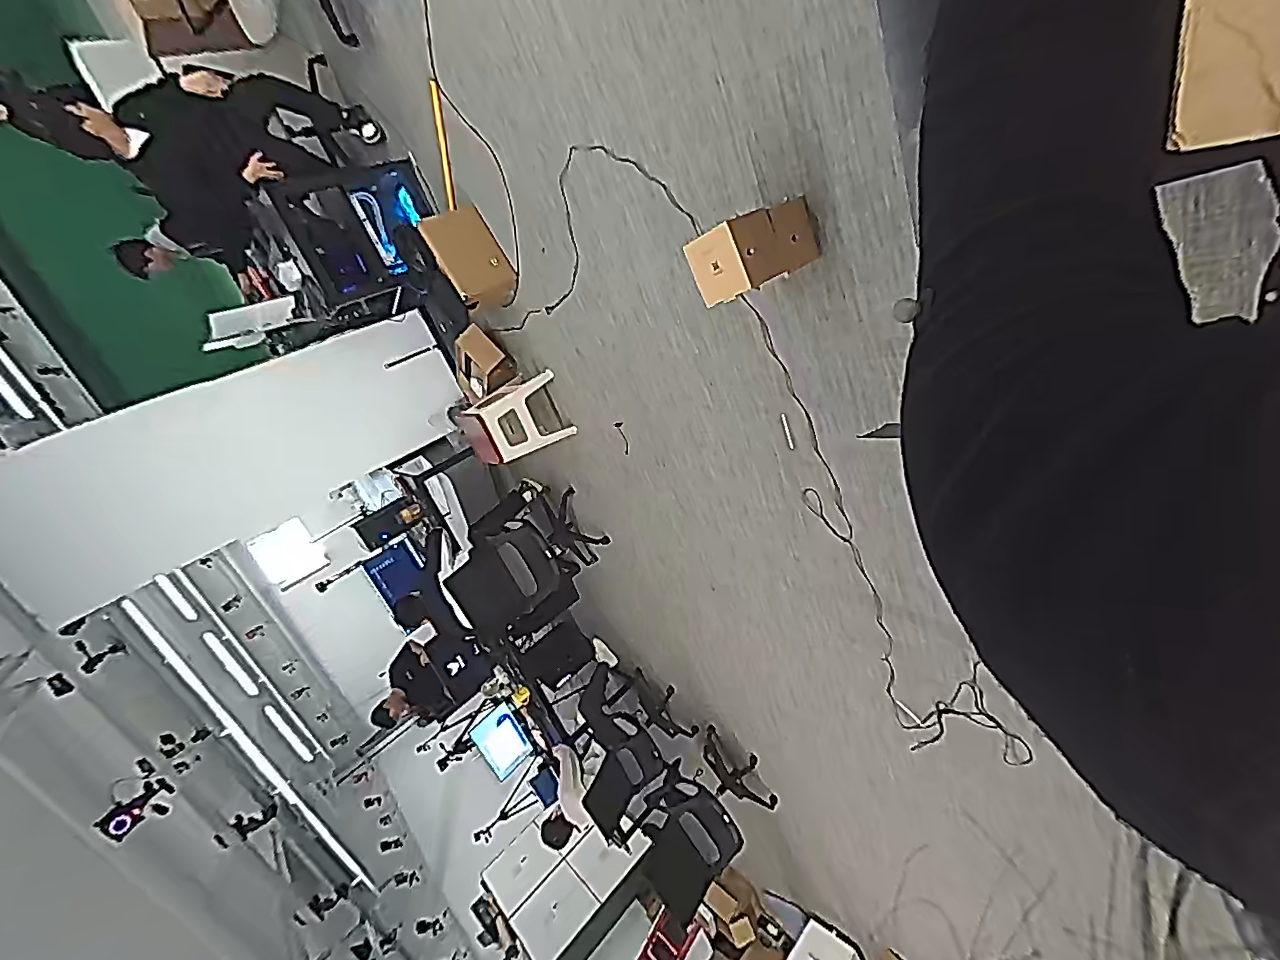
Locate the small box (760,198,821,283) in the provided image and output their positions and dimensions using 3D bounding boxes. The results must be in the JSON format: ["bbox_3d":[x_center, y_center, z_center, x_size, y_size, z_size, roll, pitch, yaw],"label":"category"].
[{"bbox_3d":[0.376,-0.668,1.515,0.168,0.176,0.179,1,121,54],"label":"small box"}]

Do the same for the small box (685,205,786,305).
[{"bbox_3d":[0.258,-0.594,1.430,0.168,0.176,0.179,-4,114,54],"label":"small box"}]
